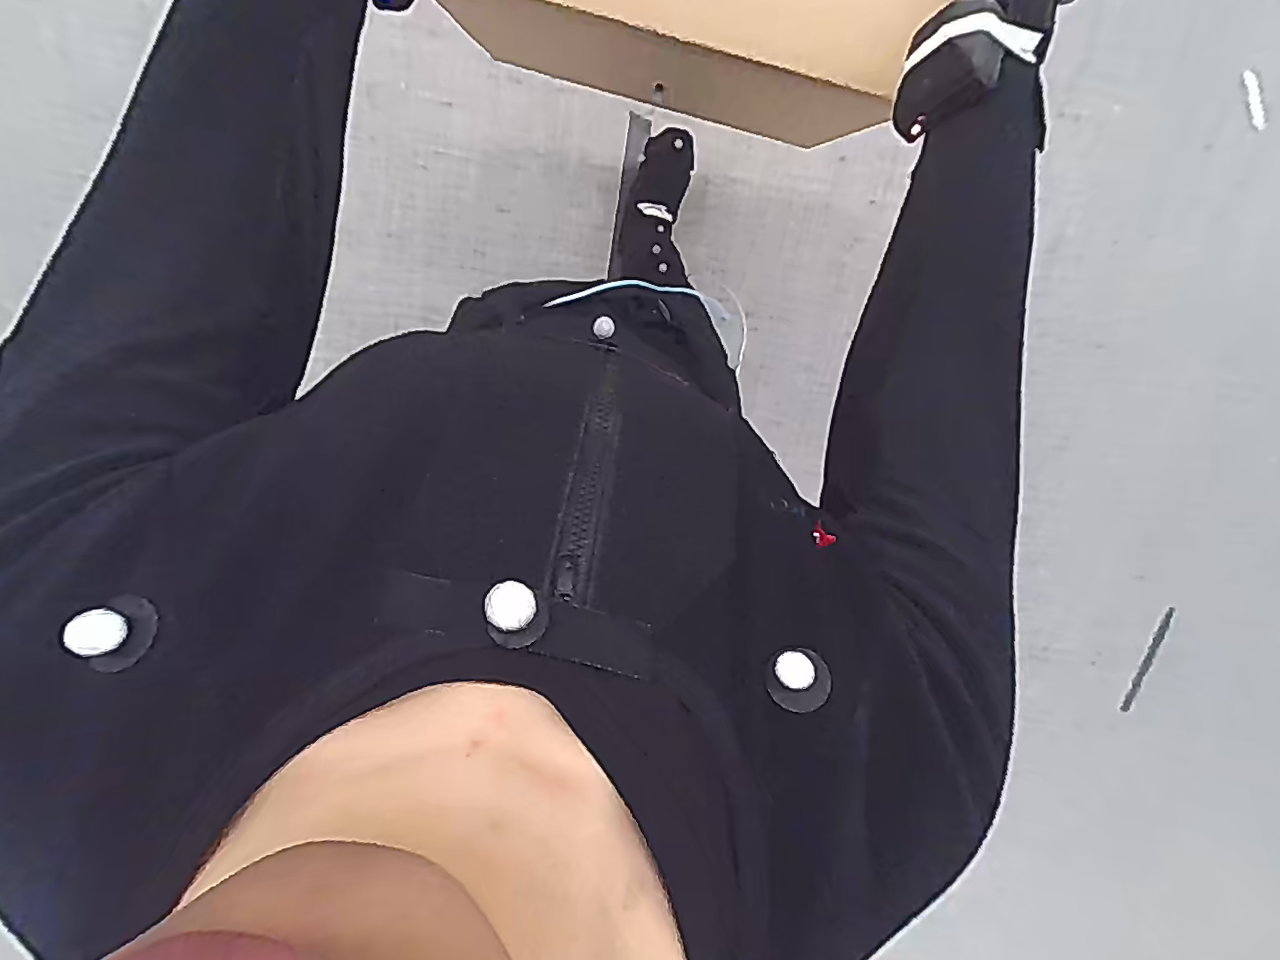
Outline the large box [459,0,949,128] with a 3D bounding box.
[{"bbox_3d":[0.058,-0.541,0.465,0.408,0.320,0.320,12,115,-5],"label":"large box"}]
